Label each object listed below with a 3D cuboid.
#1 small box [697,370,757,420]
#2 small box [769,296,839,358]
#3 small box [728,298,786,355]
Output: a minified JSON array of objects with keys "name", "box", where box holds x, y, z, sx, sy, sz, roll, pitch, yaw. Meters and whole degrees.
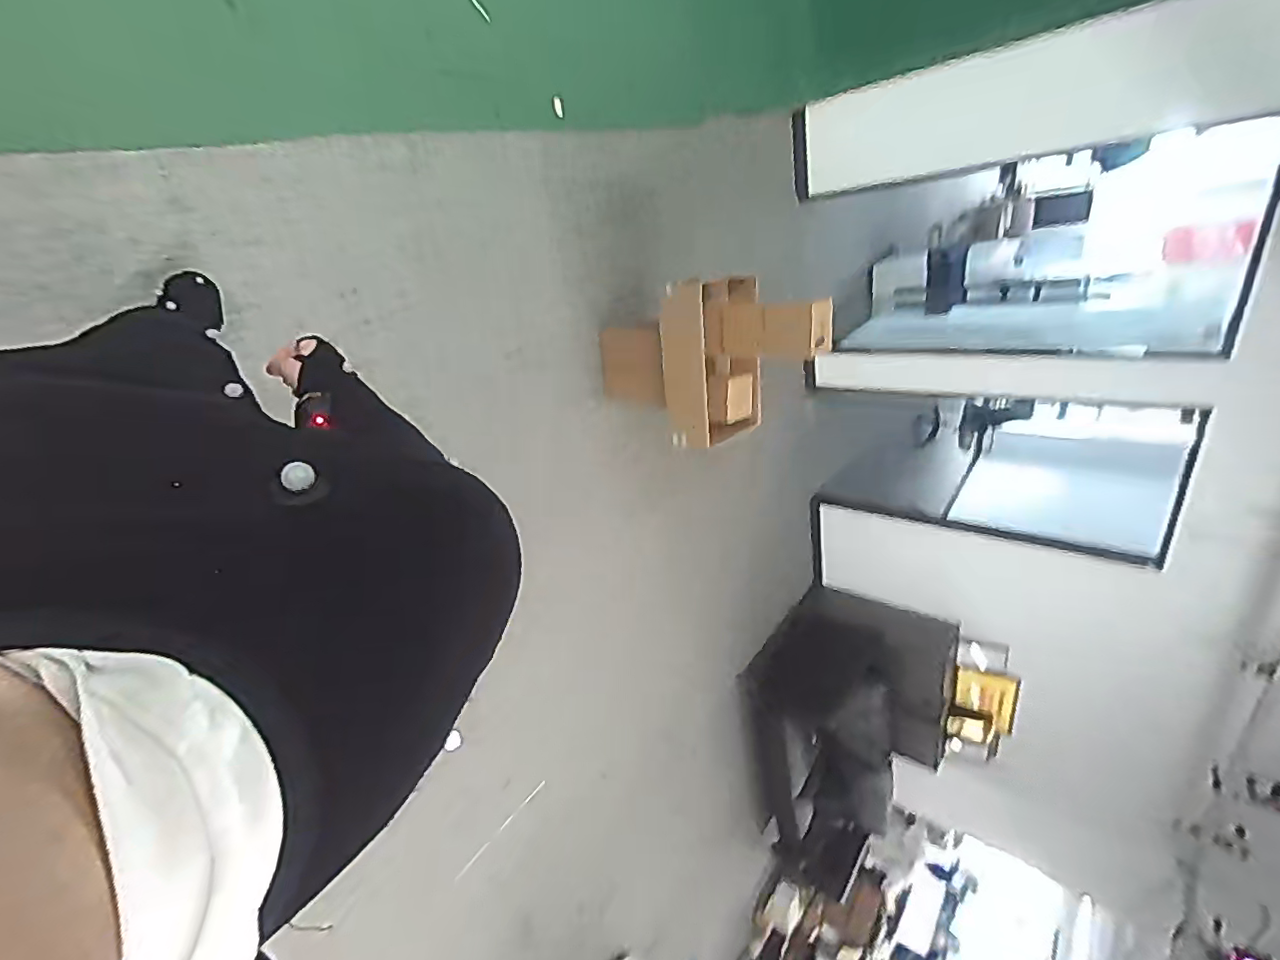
[{"name":"small box","box":[0.336,-0.335,2.112,0.179,0.176,0.168,-20,116,-44]},{"name":"small box","box":[0.541,-0.510,1.792,0.168,0.176,0.179,-27,120,-42]},{"name":"small box","box":[0.422,-0.541,1.901,0.168,0.176,0.179,-25,120,-43]}]
